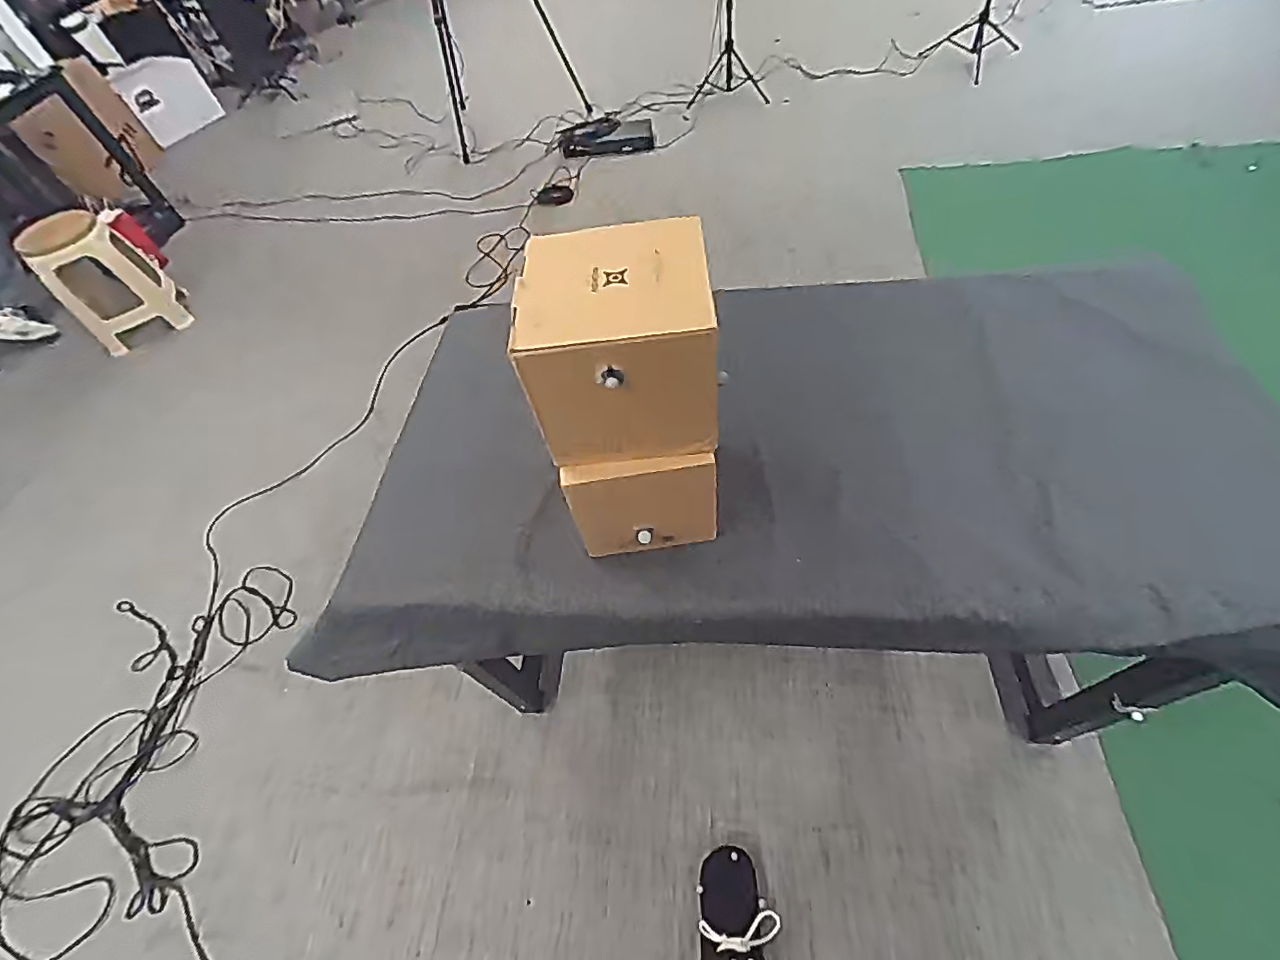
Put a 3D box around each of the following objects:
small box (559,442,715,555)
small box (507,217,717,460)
[{"bbox_3d":[-0.002,-0.028,0.671,0.168,0.176,0.179,-8,55,3],"label":"small box"},{"bbox_3d":[-0.016,-0.134,0.548,0.179,0.176,0.168,-5,56,4],"label":"small box"}]
